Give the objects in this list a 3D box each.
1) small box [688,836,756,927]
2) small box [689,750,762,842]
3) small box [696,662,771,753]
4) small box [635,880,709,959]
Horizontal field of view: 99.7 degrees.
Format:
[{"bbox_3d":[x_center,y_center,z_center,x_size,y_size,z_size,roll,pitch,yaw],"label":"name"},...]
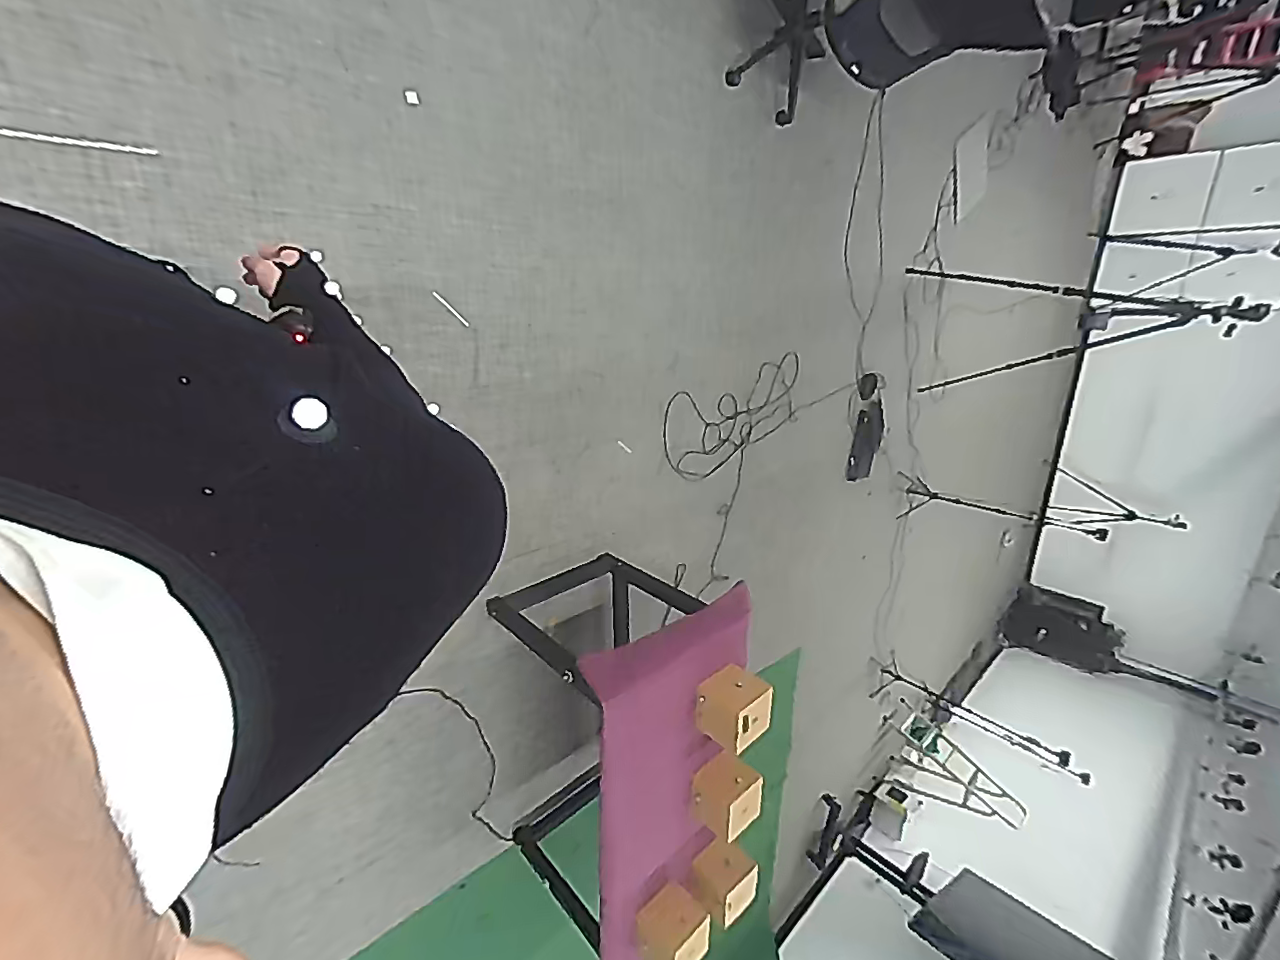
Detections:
[{"bbox_3d":[0.297,1.443,1.963,0.179,0.176,0.168,-15,113,-40],"label":"small box"},{"bbox_3d":[0.288,1.061,1.835,0.179,0.176,0.168,-14,112,-40],"label":"small box"},{"bbox_3d":[0.294,0.719,1.727,0.179,0.176,0.168,-16,115,-40],"label":"small box"},{"bbox_3d":[0.105,1.491,1.790,0.179,0.176,0.168,-14,111,-42],"label":"small box"}]
